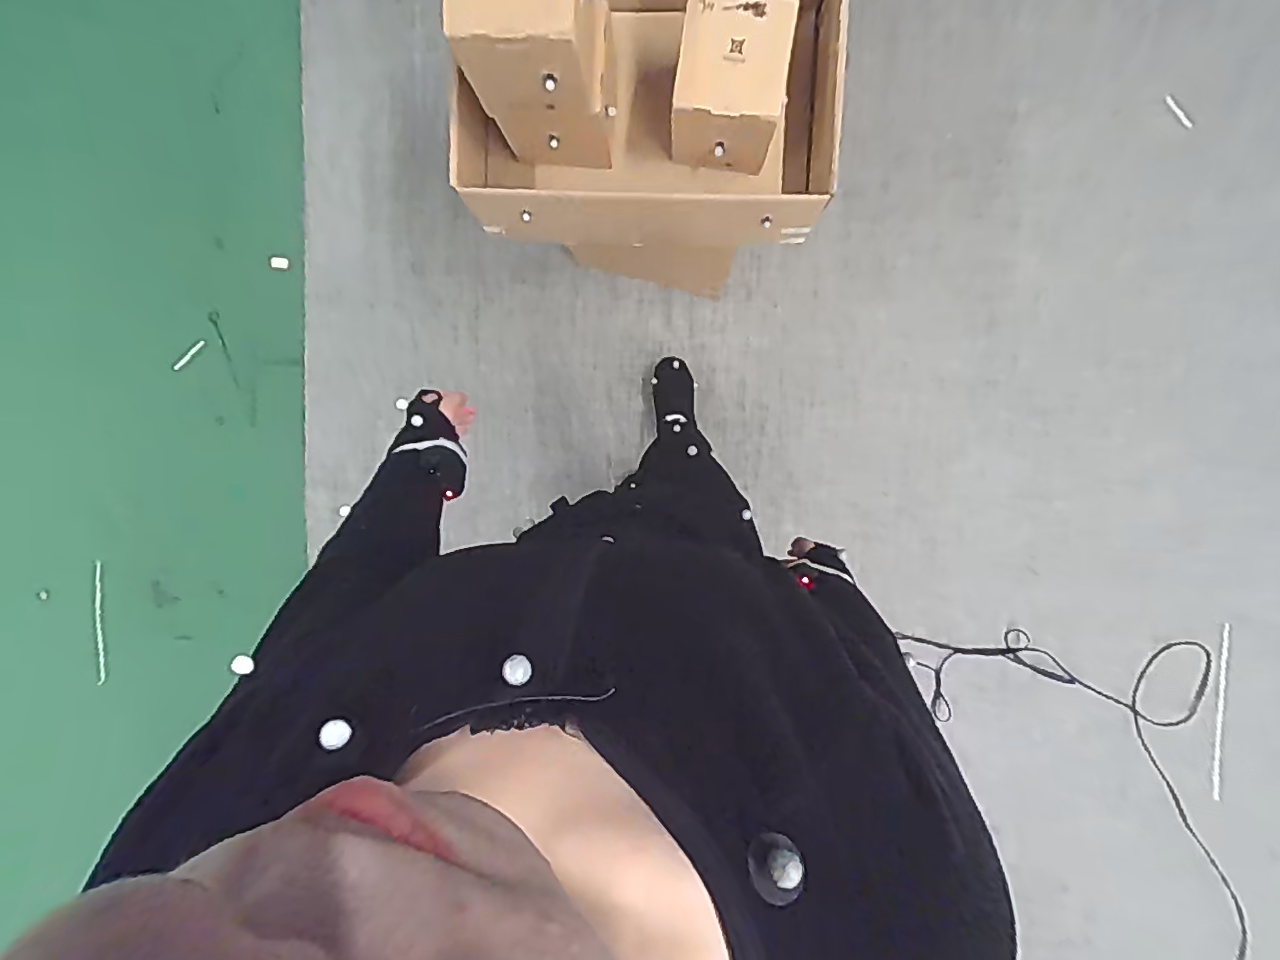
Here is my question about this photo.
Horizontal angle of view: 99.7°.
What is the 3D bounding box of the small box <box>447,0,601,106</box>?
[{"bbox_3d":[-0.148,-0.650,0.740,0.168,0.176,0.179,4,93,3],"label":"small box"}]
